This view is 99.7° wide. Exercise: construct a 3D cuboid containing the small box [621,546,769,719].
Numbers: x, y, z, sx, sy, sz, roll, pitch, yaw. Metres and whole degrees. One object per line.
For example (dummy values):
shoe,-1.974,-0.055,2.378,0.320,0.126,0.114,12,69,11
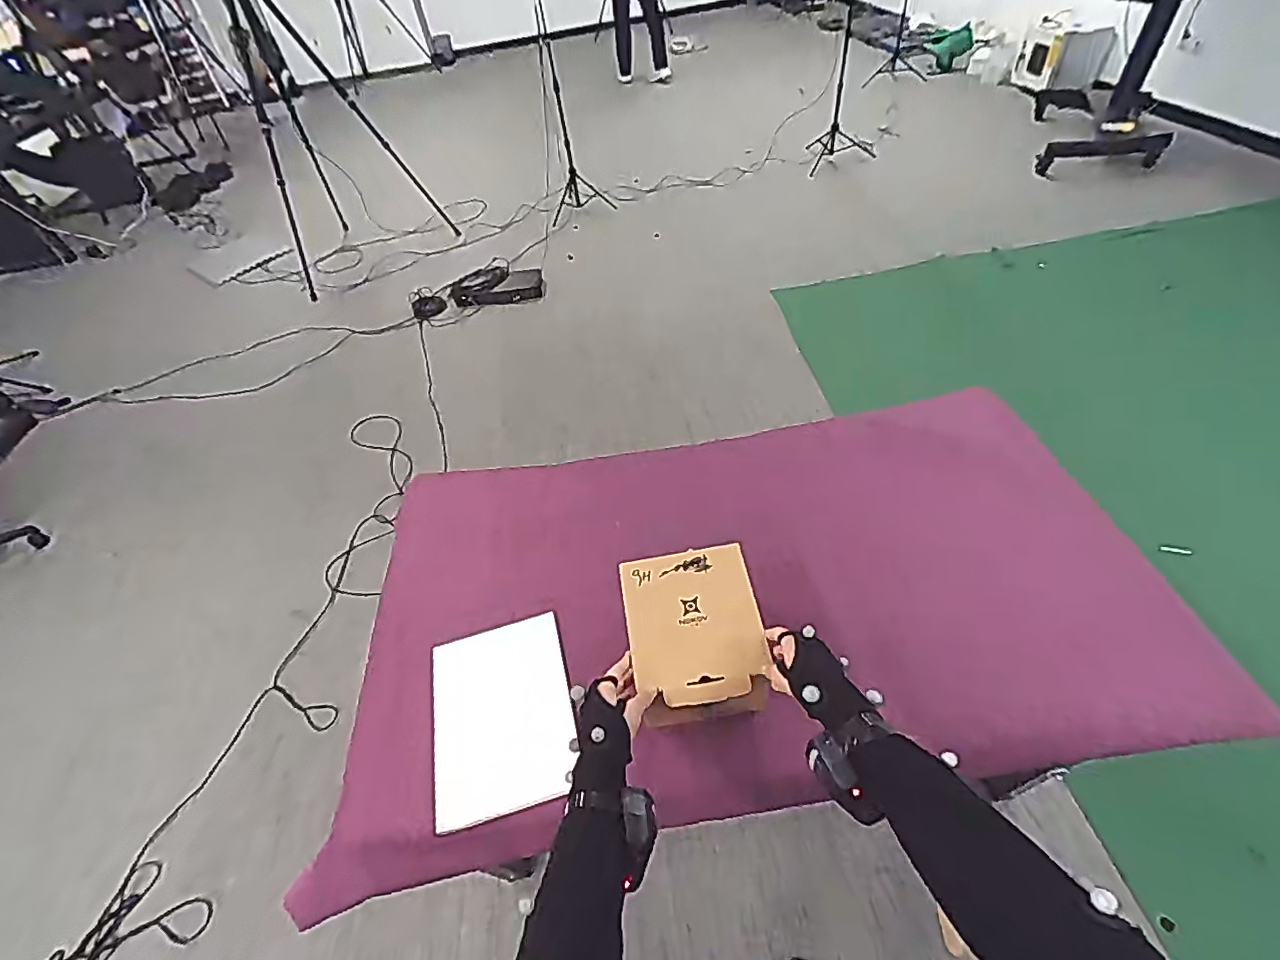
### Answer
small box,0.072,0.216,0.743,0.168,0.176,0.179,-9,53,0
